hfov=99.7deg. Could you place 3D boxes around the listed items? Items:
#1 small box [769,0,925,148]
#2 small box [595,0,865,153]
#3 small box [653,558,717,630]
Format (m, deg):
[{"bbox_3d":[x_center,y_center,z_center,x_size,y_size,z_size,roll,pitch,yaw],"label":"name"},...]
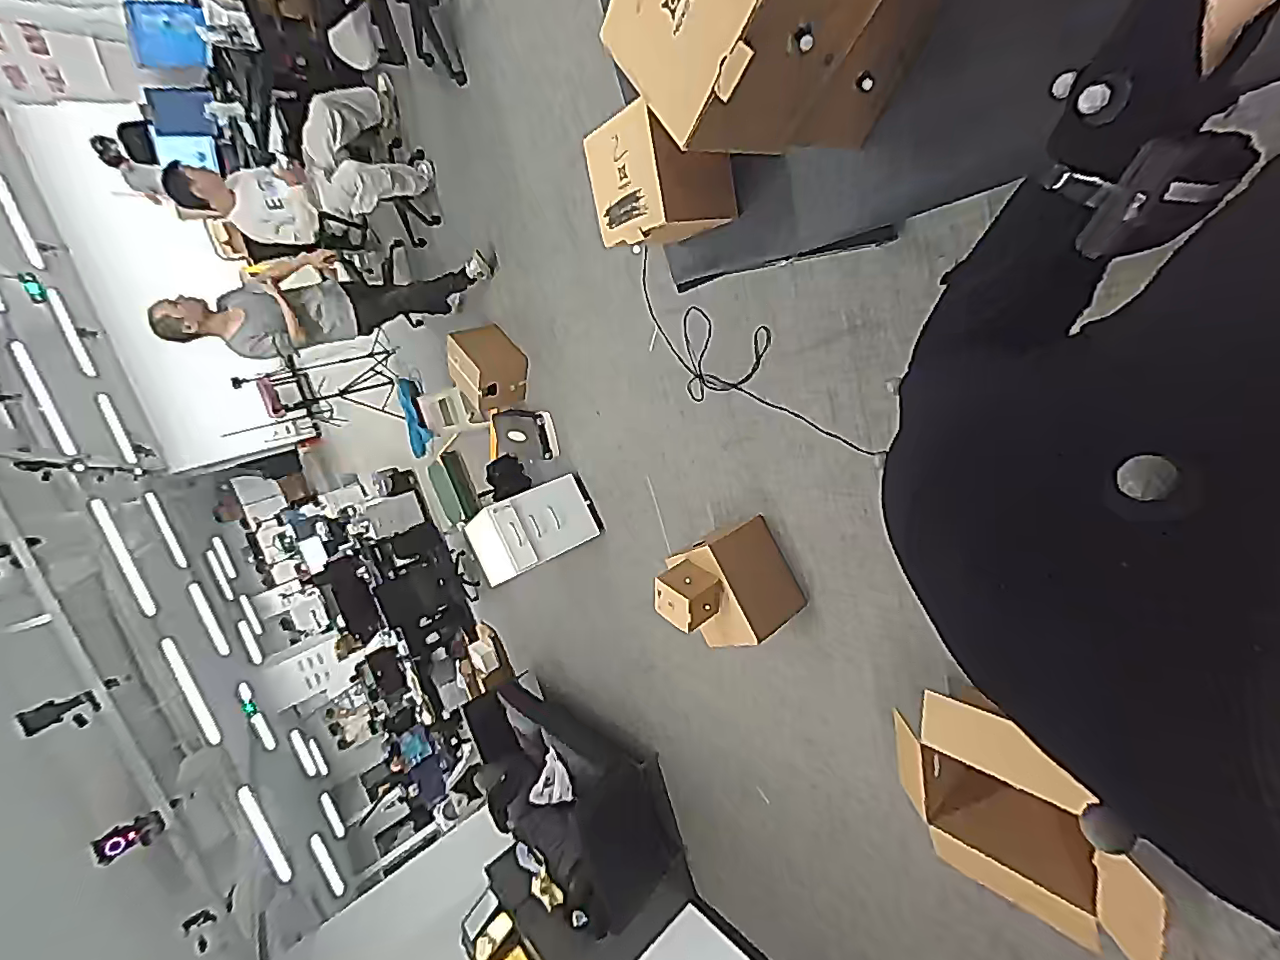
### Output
[{"bbox_3d":[0.199,-0.531,0.655,0.179,0.176,0.168,51,142,21],"label":"small box"},{"bbox_3d":[0.089,-0.470,0.552,0.179,0.176,0.168,59,144,12],"label":"small box"},{"bbox_3d":[0.170,0.419,2.028,0.179,0.176,0.168,26,129,40],"label":"small box"}]
